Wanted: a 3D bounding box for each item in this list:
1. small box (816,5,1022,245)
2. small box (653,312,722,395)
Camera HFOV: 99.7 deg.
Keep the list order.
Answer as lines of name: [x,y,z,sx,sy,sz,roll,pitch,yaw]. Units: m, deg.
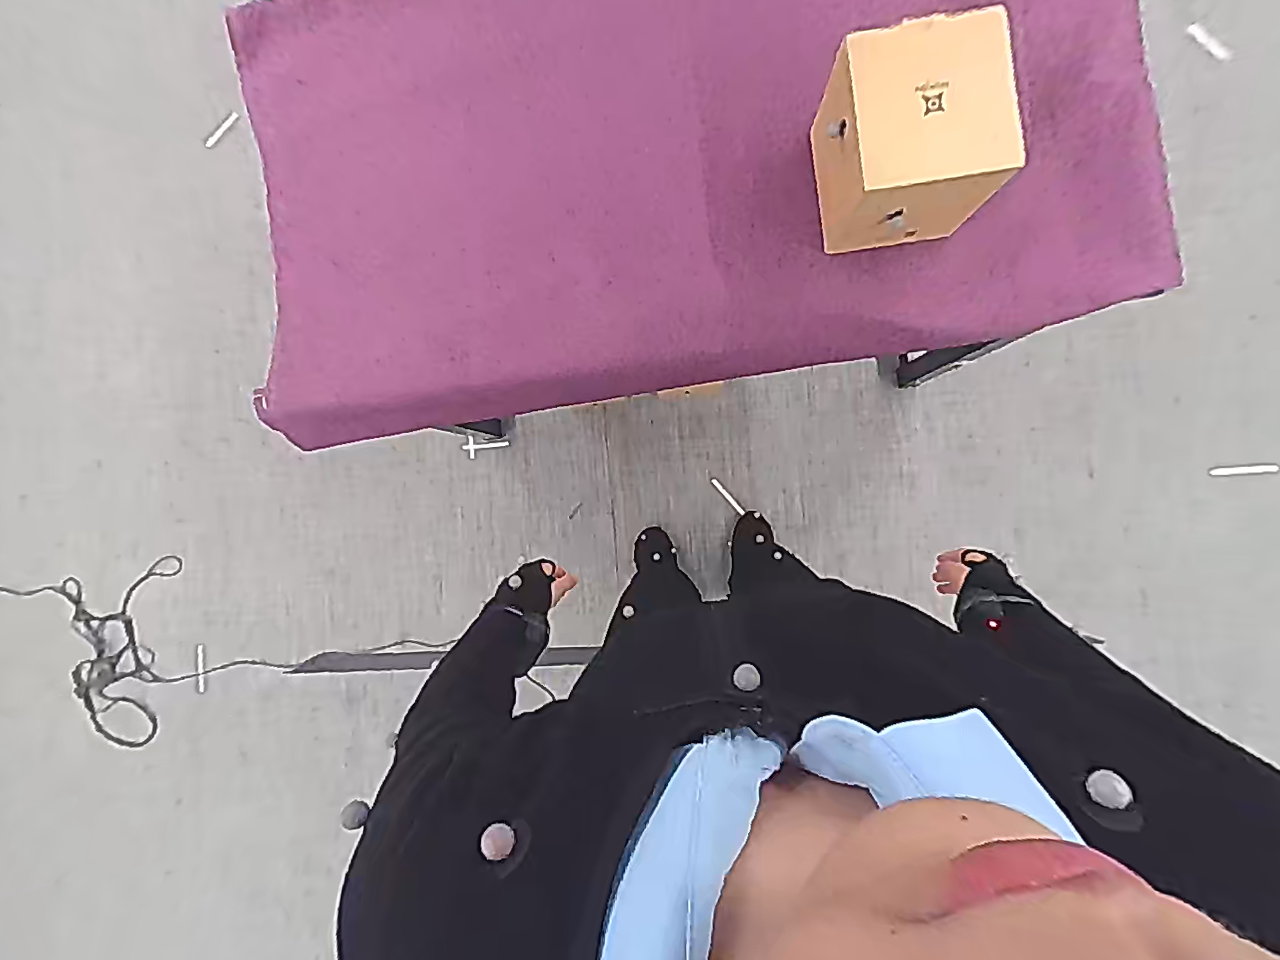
small box: [0.320,-0.406,0.655,0.168,0.176,0.179,-6,88,5]
small box: [0.123,-0.320,1.403,0.168,0.176,0.179,-4,88,4]
